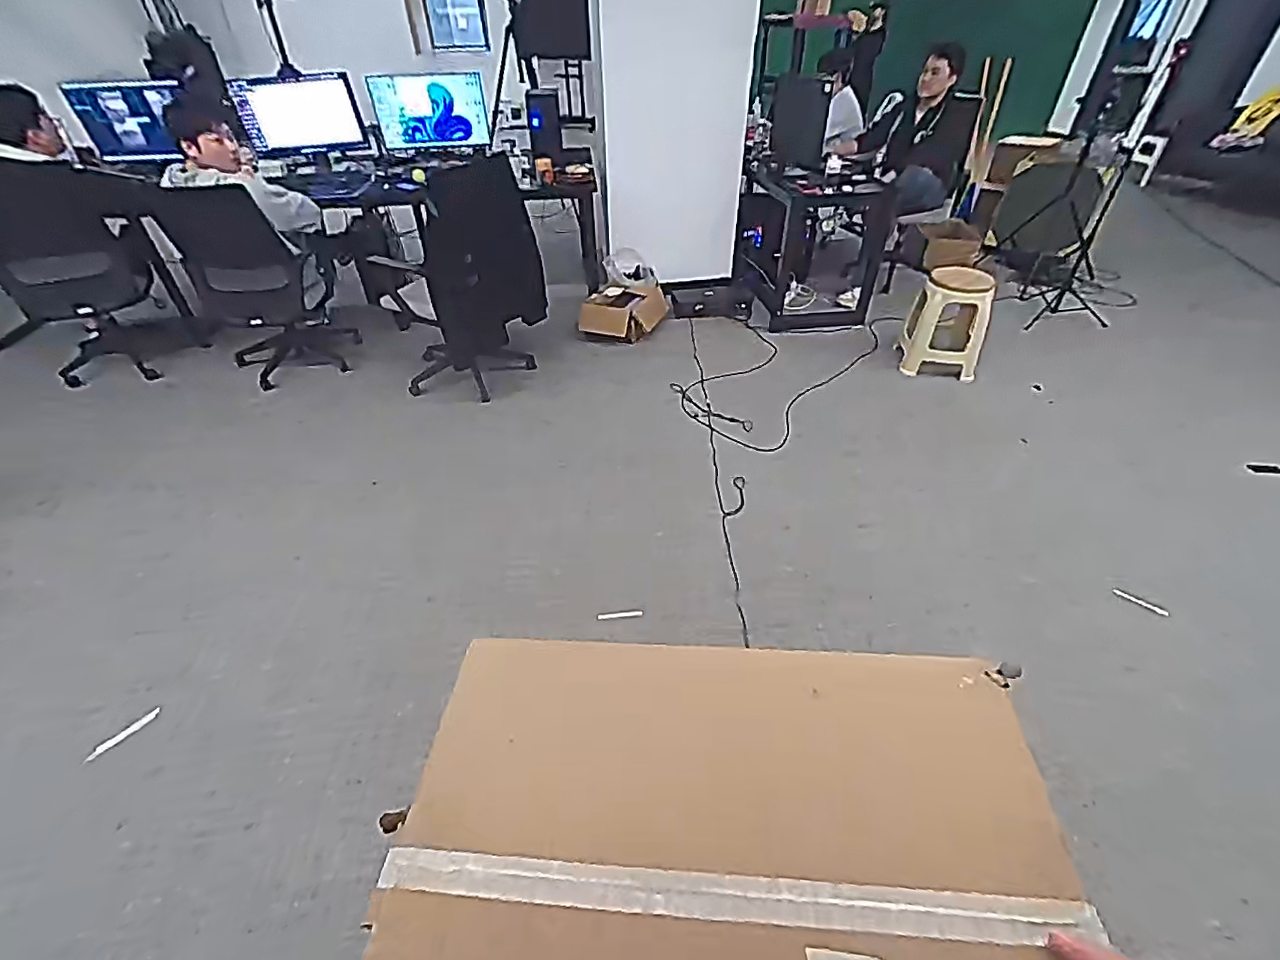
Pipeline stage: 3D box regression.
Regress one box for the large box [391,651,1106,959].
[{"bbox_3d":[0.064,0.355,0.426,0.408,0.320,0.320,0,46,6],"label":"large box"}]
